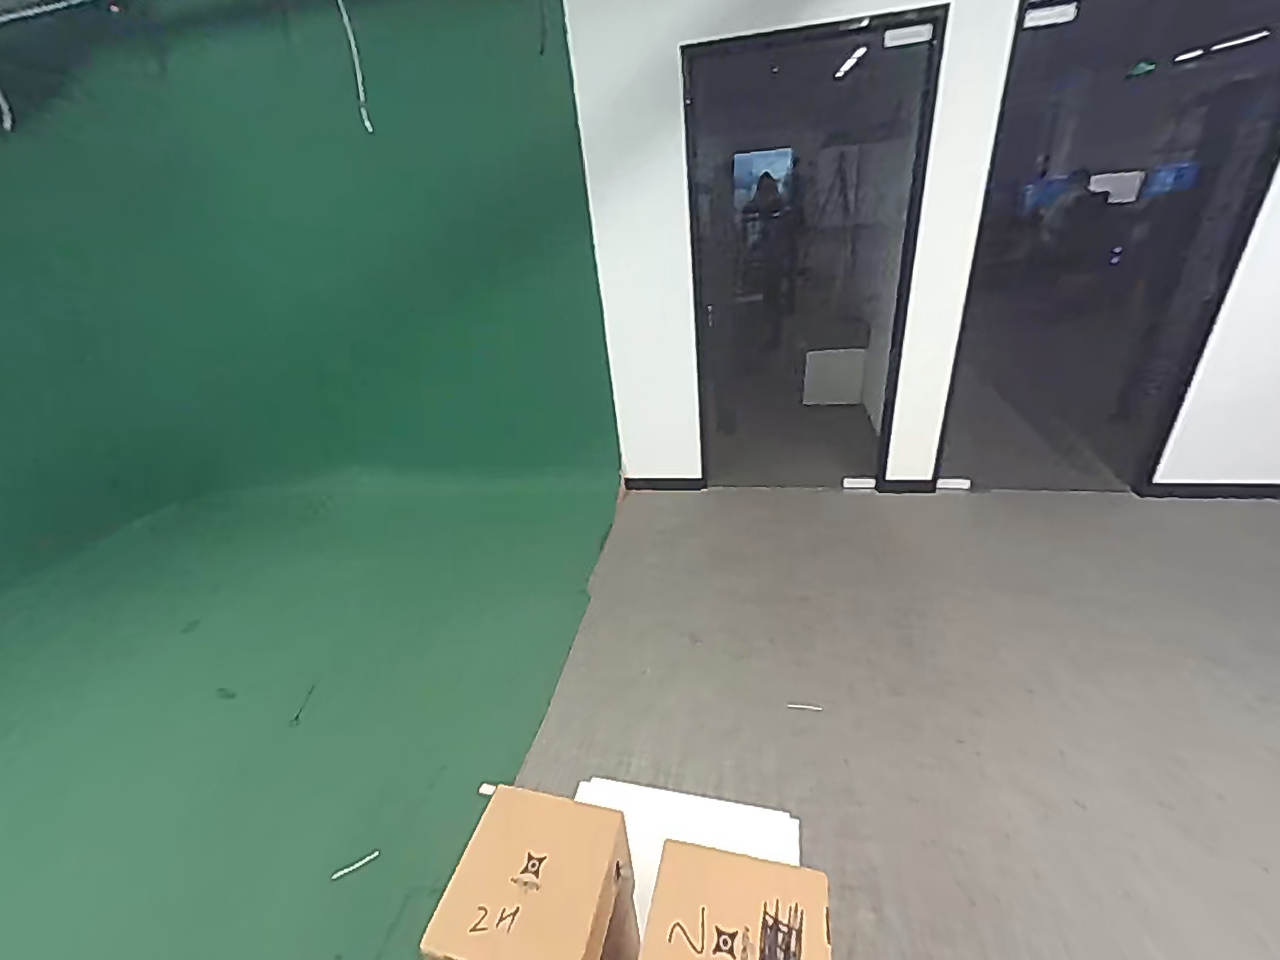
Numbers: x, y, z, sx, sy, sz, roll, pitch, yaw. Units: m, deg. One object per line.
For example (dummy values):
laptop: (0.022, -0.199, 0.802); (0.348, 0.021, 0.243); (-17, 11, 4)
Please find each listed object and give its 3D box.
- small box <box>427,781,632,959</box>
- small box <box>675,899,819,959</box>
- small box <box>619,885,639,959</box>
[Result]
small box: (-0.110, 0.496, 0.627); (0.168, 0.176, 0.179); (3, 30, 15)
small box: (0.120, 0.654, 0.639); (0.168, 0.176, 0.179); (2, 30, 17)
small box: (-0.101, 0.642, 0.703); (0.168, 0.176, 0.179); (3, 30, 15)
